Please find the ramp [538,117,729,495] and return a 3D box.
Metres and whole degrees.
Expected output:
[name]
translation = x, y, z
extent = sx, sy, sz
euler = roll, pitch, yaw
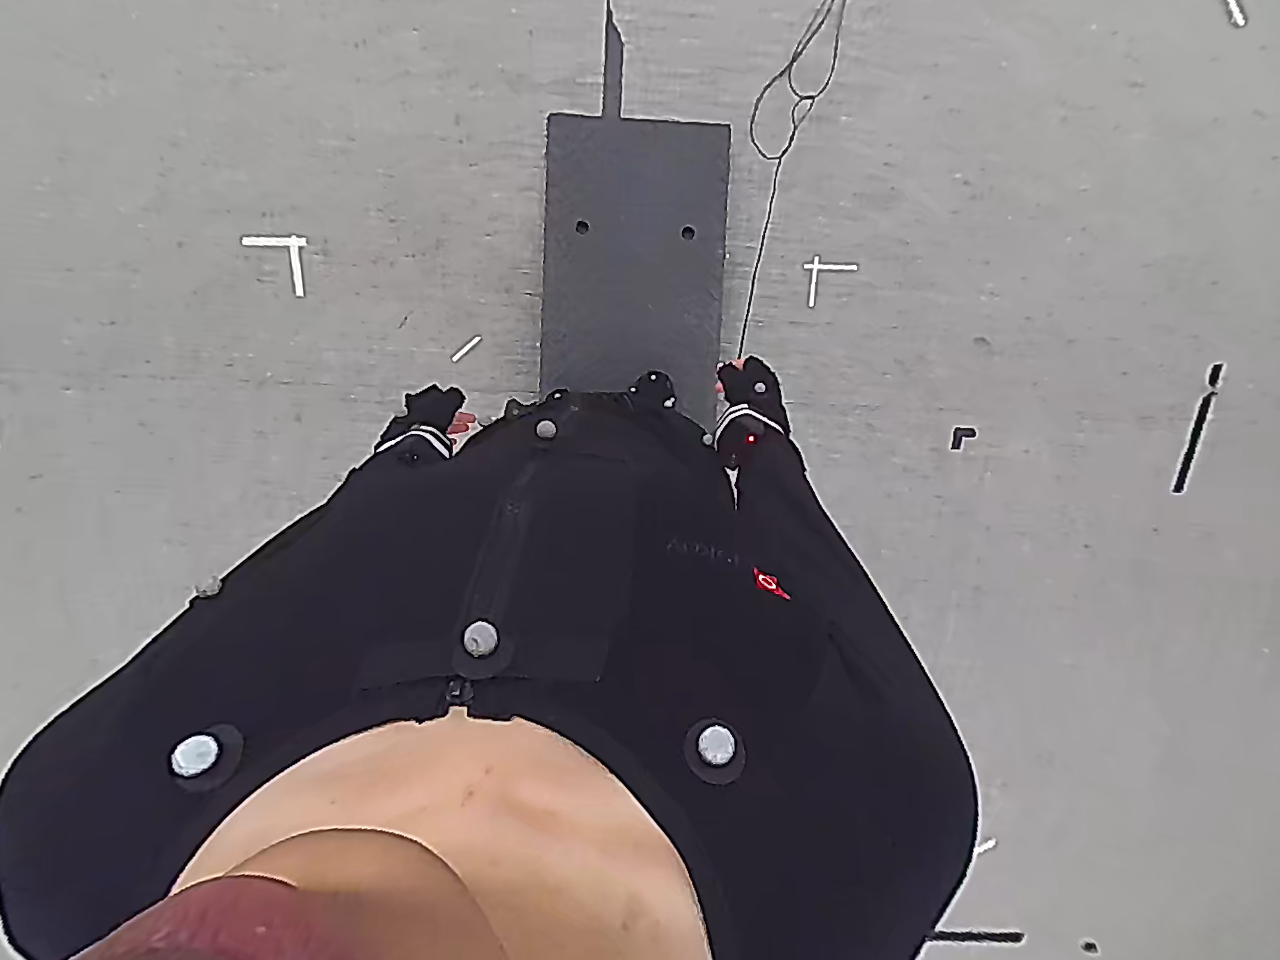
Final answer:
[ramp]
translation = -0.022, -0.462, 1.470
extent = 0.509, 0.206, 0.991
euler = 1, 103, 0
